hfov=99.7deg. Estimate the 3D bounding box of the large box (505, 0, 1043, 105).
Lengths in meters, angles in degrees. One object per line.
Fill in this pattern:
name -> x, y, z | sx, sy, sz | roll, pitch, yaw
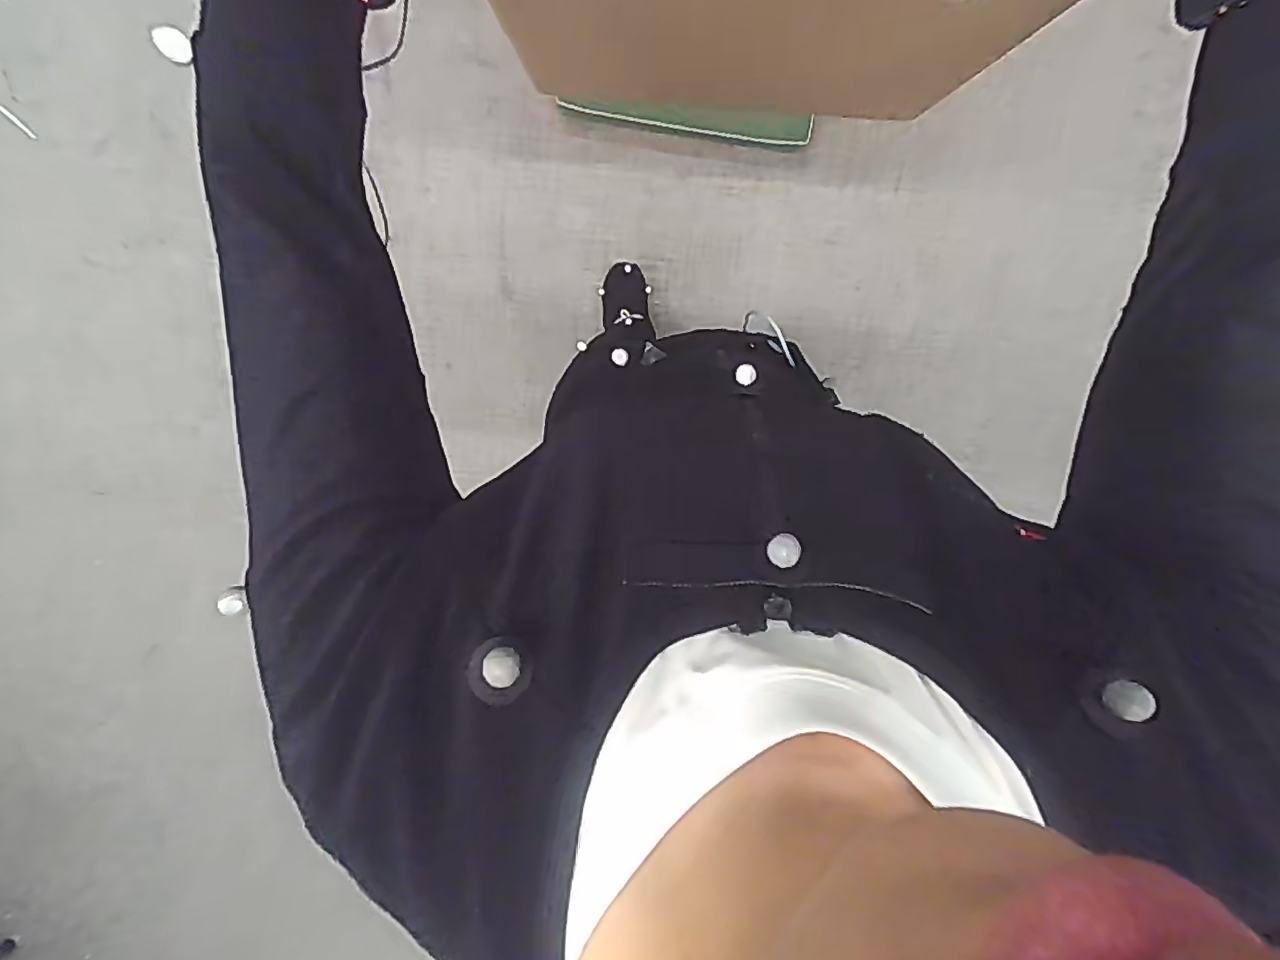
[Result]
large box -> 0.097, -0.505, 0.387 | 0.408, 0.320, 0.320 | 3, 108, -1
